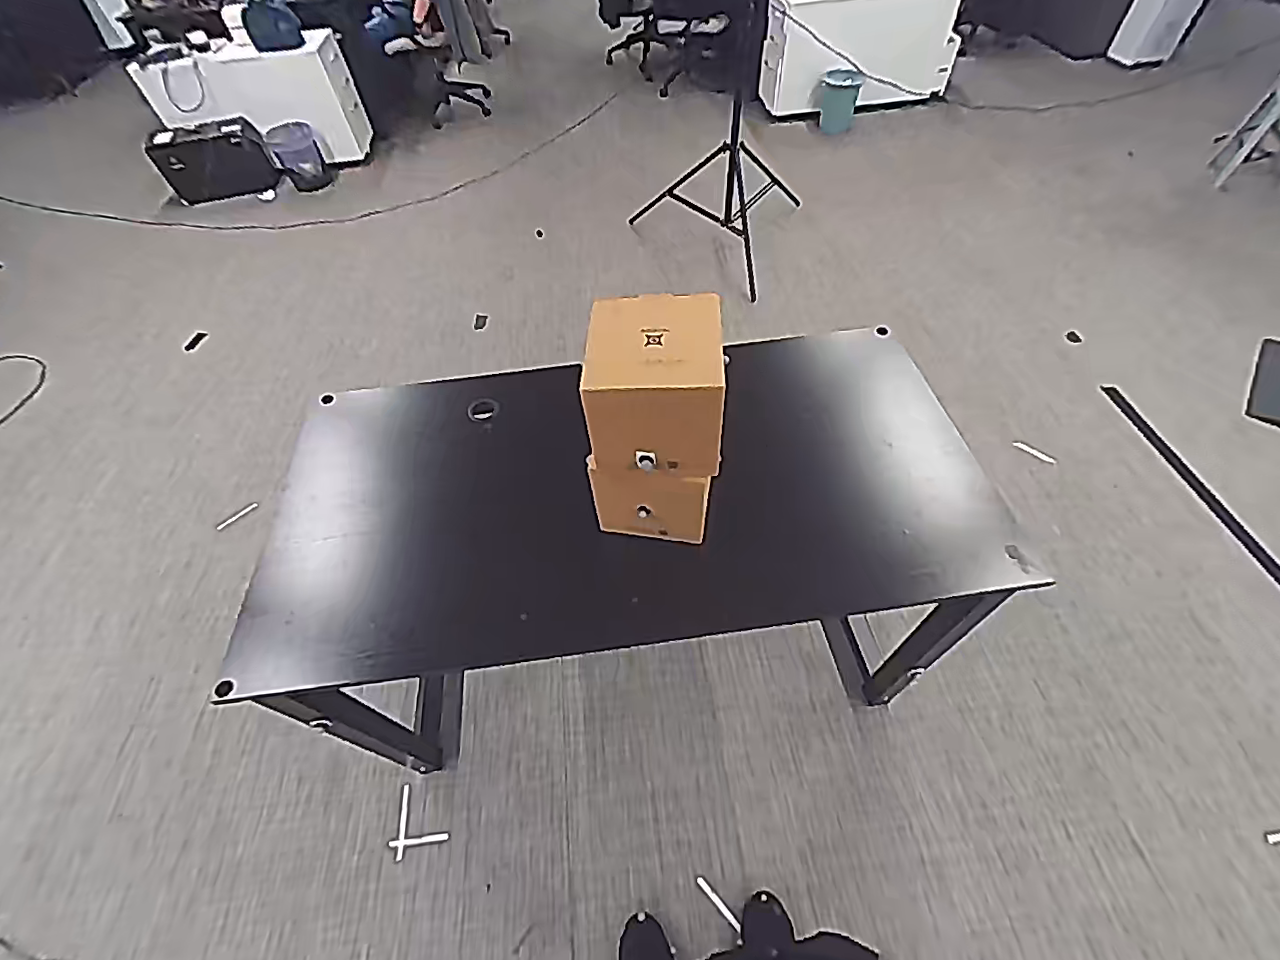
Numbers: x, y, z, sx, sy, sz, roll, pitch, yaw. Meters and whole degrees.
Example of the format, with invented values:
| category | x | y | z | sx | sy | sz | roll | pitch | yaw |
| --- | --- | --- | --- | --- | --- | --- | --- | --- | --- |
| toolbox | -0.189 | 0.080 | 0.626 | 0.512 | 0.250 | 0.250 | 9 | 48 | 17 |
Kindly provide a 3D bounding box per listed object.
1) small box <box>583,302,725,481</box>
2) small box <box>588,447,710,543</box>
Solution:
| category | x | y | z | sx | sy | sz | roll | pitch | yaw |
| --- | --- | --- | --- | --- | --- | --- | --- | --- | --- |
| small box | 0.023 | -0.116 | 0.727 | 0.168 | 0.176 | 0.179 | -1 | 54 | 5 |
| small box | 0.027 | -0.019 | 0.858 | 0.168 | 0.176 | 0.179 | 7 | 53 | 9 |
